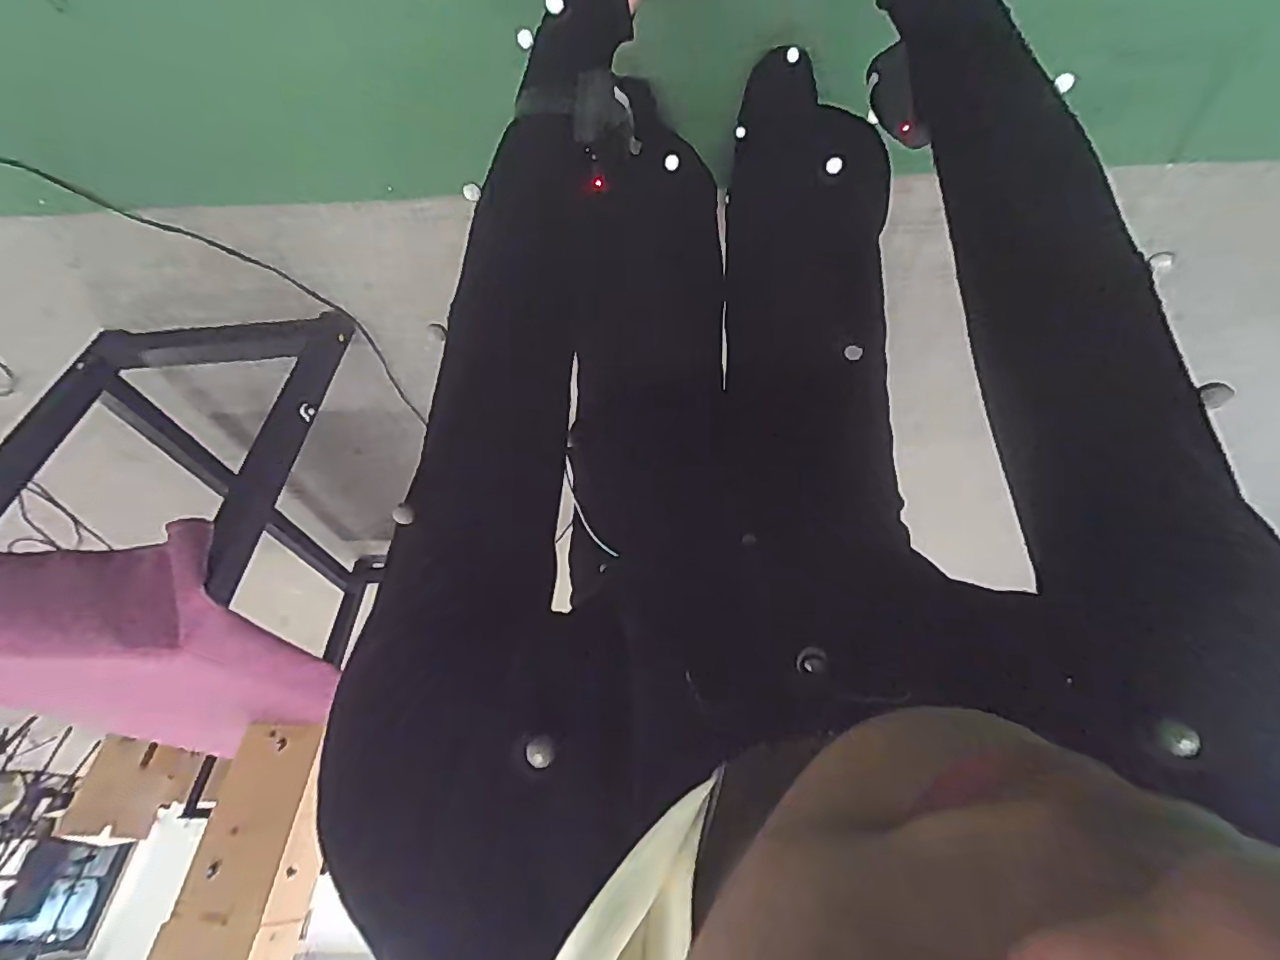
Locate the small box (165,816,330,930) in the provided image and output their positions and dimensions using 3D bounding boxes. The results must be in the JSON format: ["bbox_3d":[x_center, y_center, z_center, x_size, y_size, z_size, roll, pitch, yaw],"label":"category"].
[{"bbox_3d":[-0.742,0.757,1.047,0.168,0.176,0.179,2,144,0],"label":"small box"}]

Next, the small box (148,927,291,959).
[{"bbox_3d":[-0.753,0.888,0.950,0.179,0.176,0.168,1,143,0],"label":"small box"}]
